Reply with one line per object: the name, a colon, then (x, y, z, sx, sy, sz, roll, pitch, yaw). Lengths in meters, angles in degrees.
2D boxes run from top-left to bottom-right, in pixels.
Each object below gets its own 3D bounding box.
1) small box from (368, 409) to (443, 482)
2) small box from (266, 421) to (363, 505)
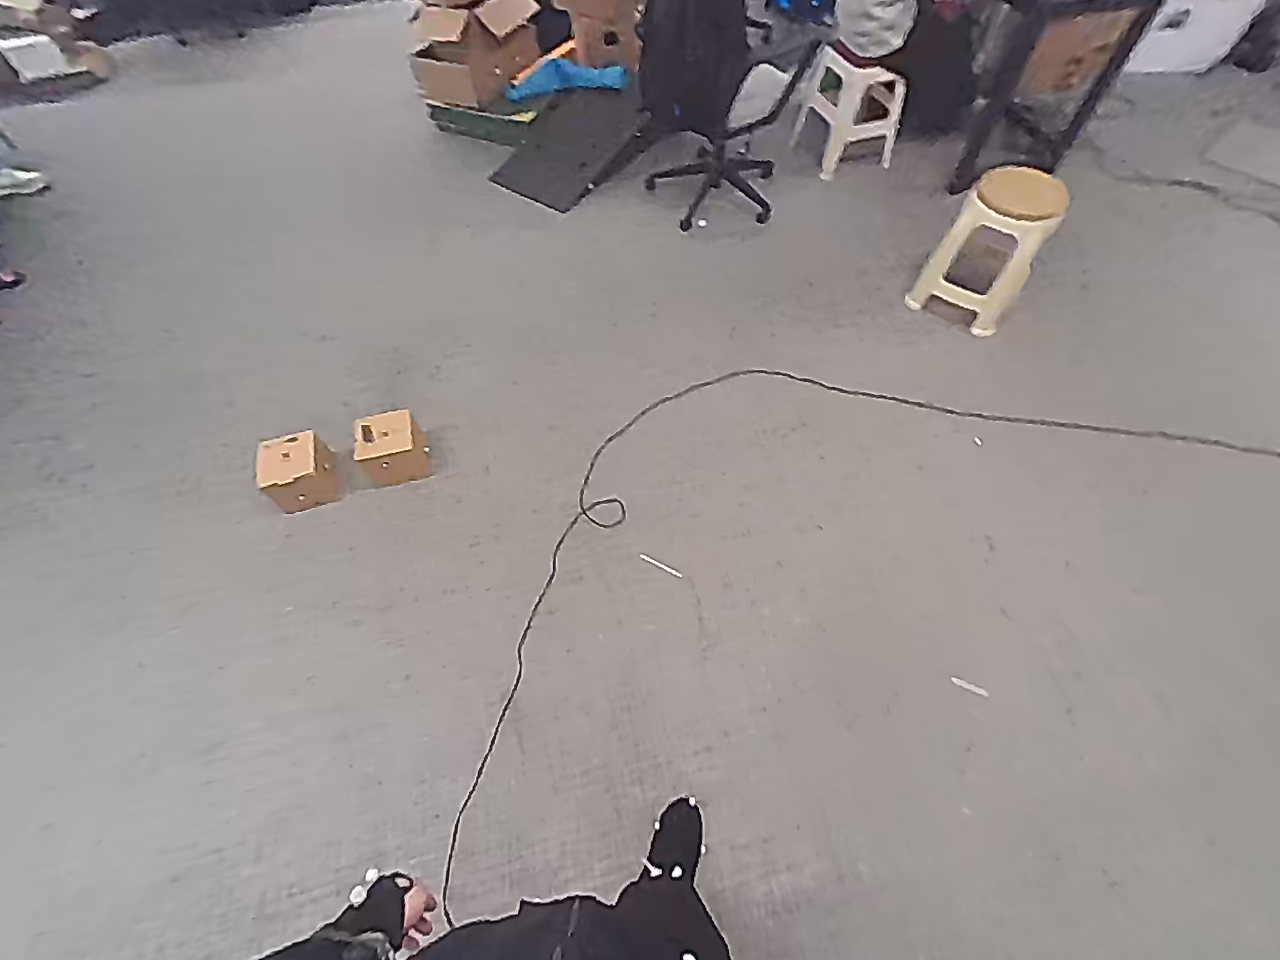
small box: (-0.766, -0.109, 1.780, 0.179, 0.176, 0.168, -10, 60, -3)
small box: (-1.046, -0.050, 1.747, 0.168, 0.176, 0.179, 36, 67, 24)
